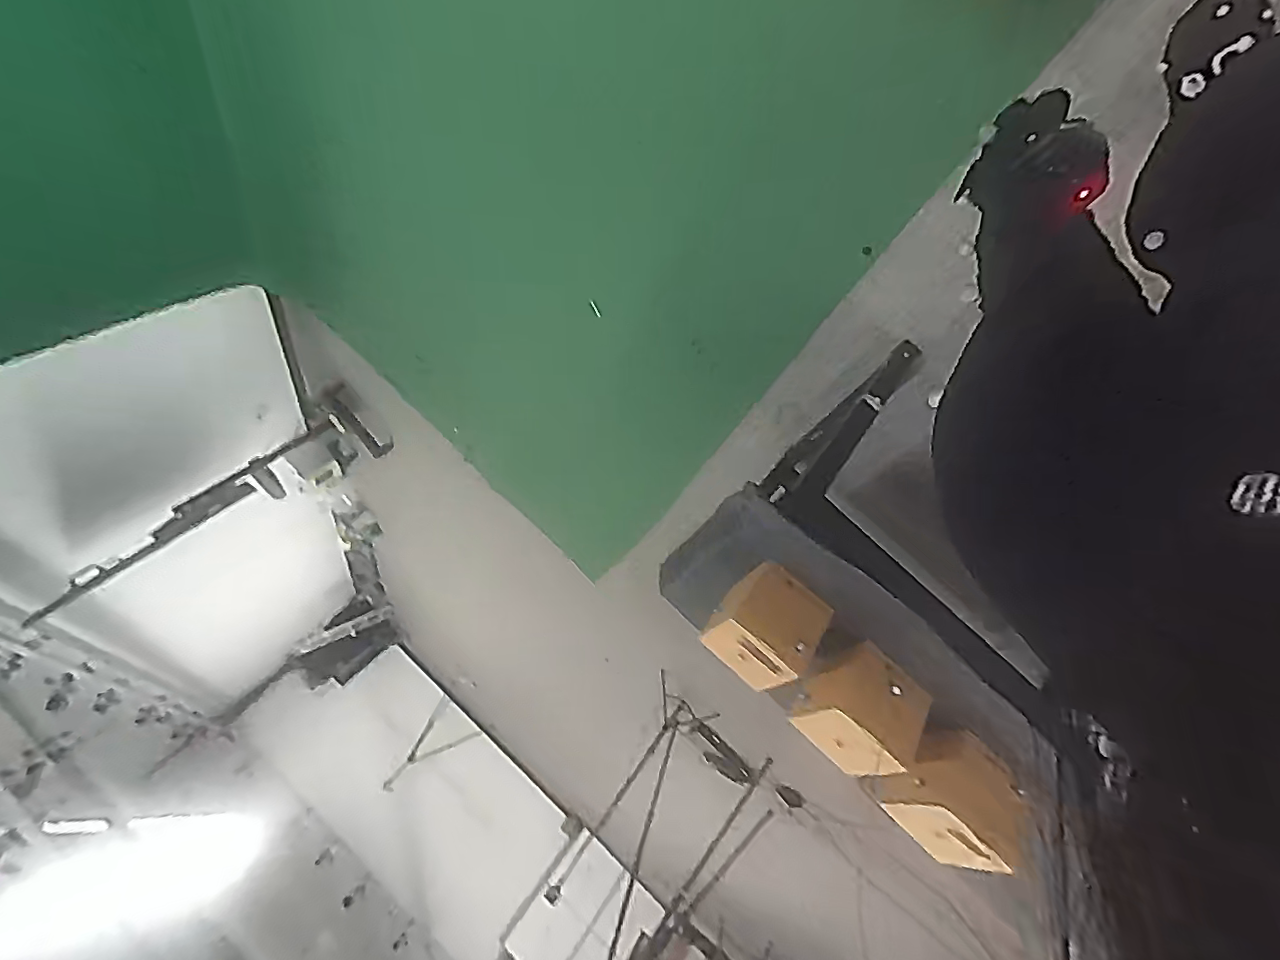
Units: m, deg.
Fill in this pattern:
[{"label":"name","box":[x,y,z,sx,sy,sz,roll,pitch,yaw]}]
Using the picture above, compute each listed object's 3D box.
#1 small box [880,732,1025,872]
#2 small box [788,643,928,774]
[{"label":"small box","box":[0.617,0.620,1.061,0.168,0.176,0.179,44,145,4]},{"label":"small box","box":[0.438,0.458,1.085,0.168,0.176,0.179,42,144,6]}]
